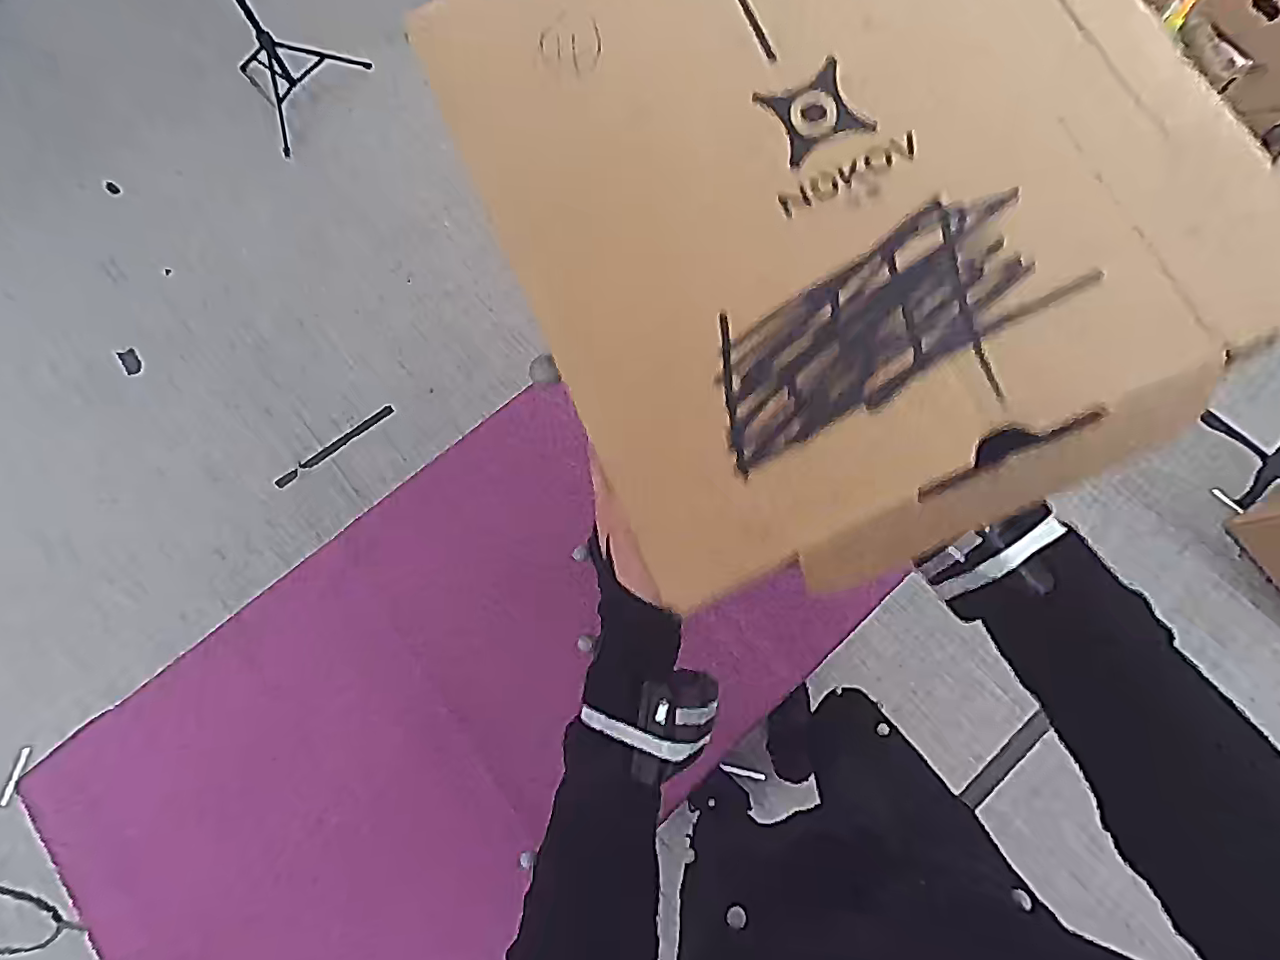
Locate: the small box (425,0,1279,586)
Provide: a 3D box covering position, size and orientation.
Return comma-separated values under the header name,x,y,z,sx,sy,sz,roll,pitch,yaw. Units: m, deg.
name,x,y,z,sx,sy,sz,roll,pitch,yaw
small box,0.053,-0.075,0.219,0.168,0.176,0.179,-25,81,1
